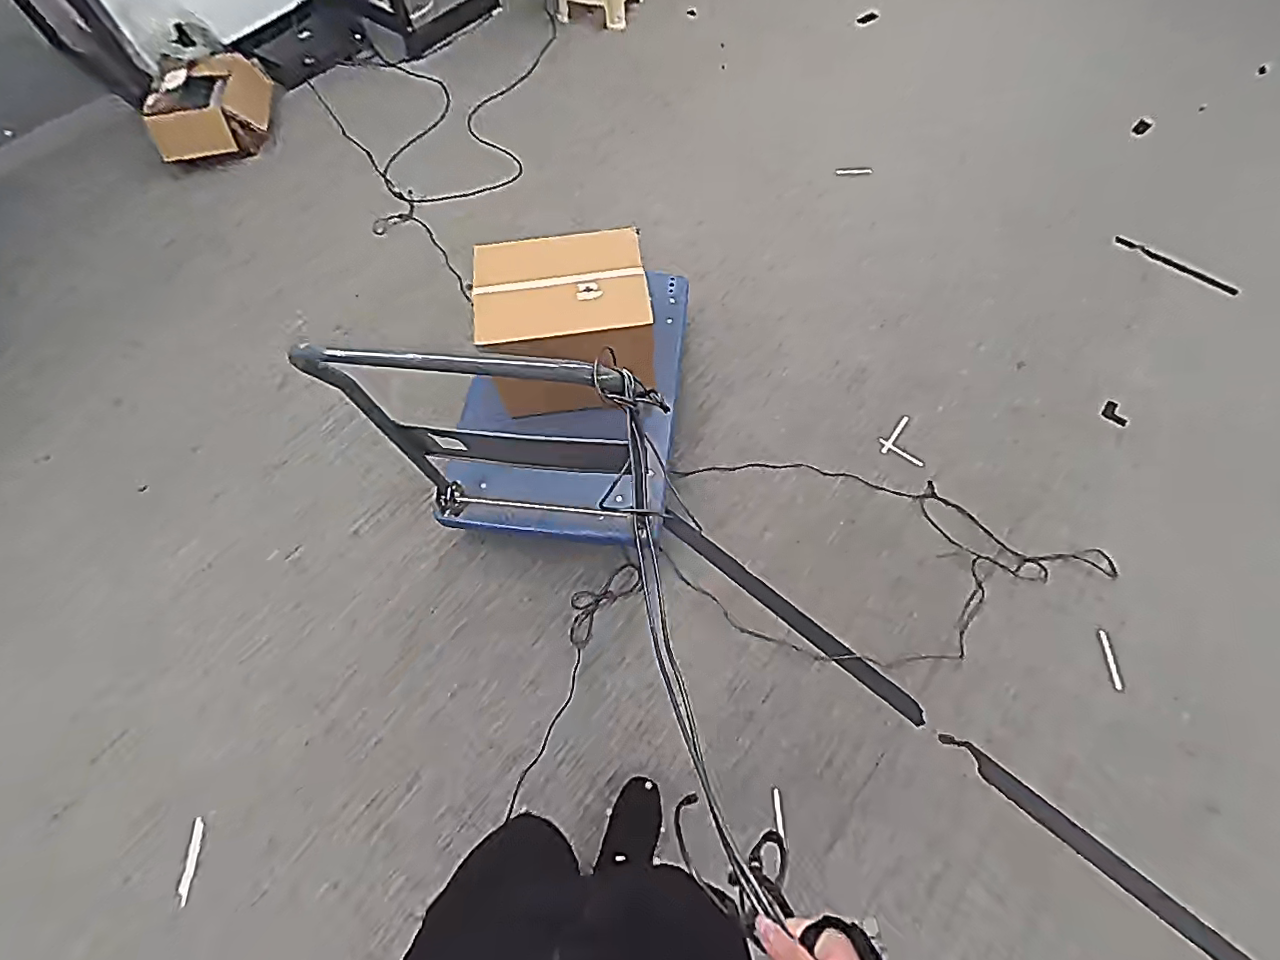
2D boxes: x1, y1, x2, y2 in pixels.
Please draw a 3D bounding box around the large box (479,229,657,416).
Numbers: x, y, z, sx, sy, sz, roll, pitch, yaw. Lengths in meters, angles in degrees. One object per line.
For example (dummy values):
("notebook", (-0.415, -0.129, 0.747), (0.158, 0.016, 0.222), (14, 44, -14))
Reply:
("large box", (-0.176, -0.394, 1.395), (0.408, 0.320, 0.320), (-7, 66, -2))
